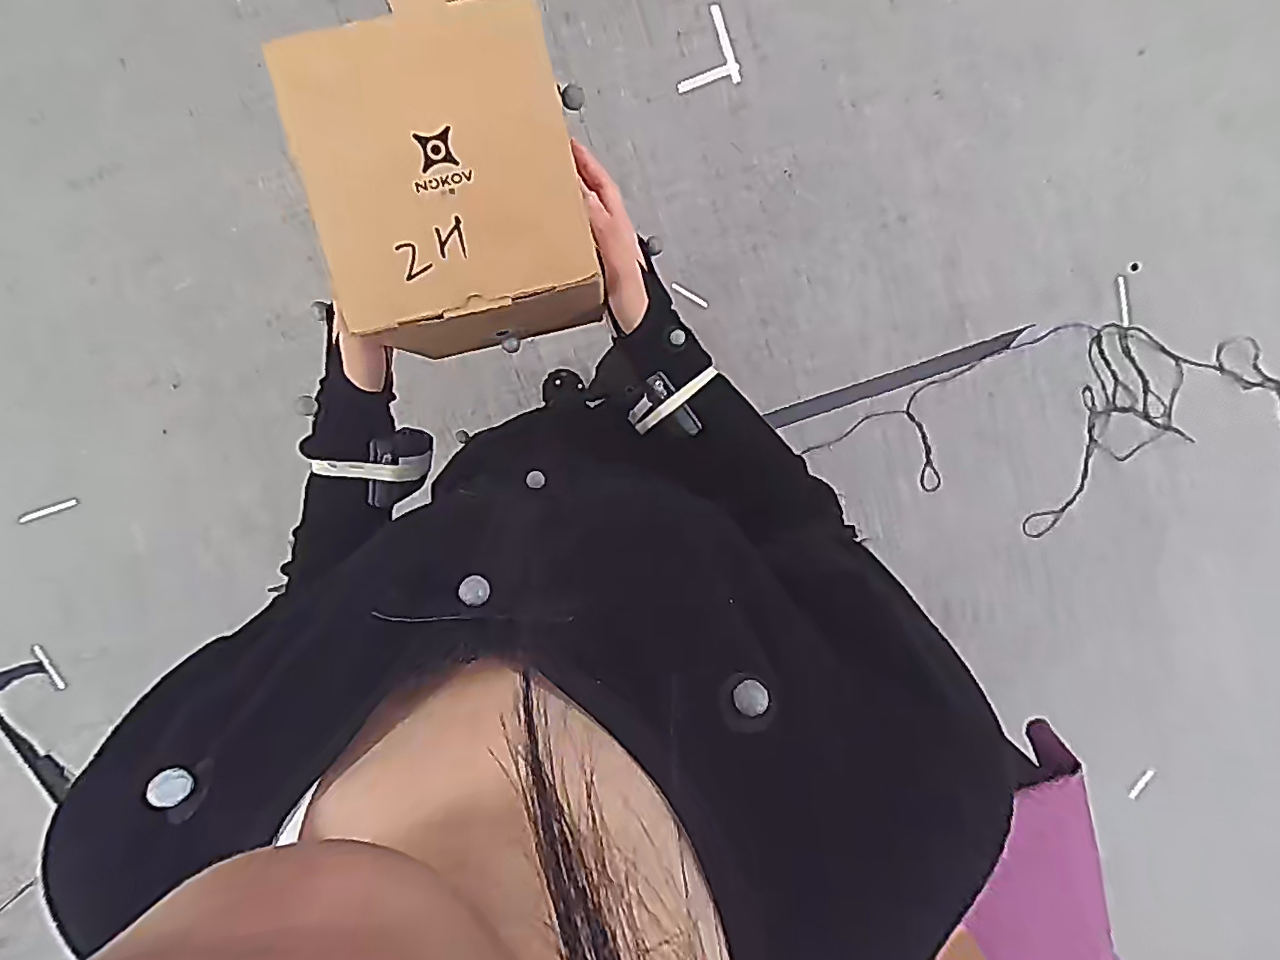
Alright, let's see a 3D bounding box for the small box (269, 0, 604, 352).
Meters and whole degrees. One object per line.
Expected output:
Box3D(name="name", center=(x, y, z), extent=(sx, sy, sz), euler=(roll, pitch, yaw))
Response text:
Box3D(name="small box", center=(-0.126, -0.207, 0.408), extent=(0.168, 0.176, 0.179), euler=(-13, 98, -2))
